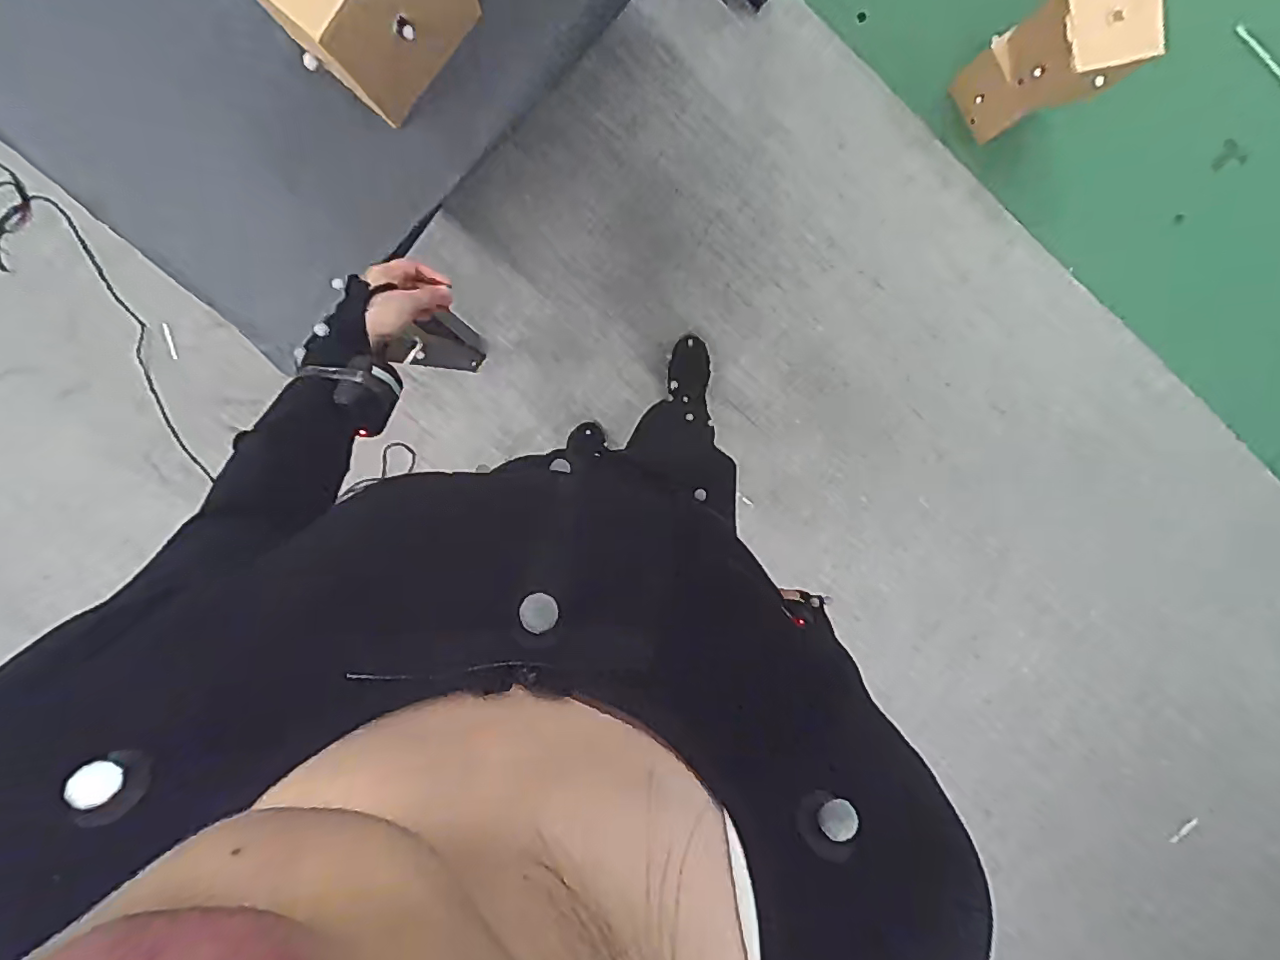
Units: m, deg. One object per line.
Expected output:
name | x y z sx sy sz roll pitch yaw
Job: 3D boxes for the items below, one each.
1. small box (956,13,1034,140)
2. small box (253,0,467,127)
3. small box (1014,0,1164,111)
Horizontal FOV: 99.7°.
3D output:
small box | 0.870 -0.934 1.247 0.179 0.176 0.168 -33 98 5
small box | -0.307 -0.531 0.569 0.168 0.176 0.179 41 98 -6
small box | 0.891 -0.882 1.091 0.179 0.176 0.168 -12 101 1
